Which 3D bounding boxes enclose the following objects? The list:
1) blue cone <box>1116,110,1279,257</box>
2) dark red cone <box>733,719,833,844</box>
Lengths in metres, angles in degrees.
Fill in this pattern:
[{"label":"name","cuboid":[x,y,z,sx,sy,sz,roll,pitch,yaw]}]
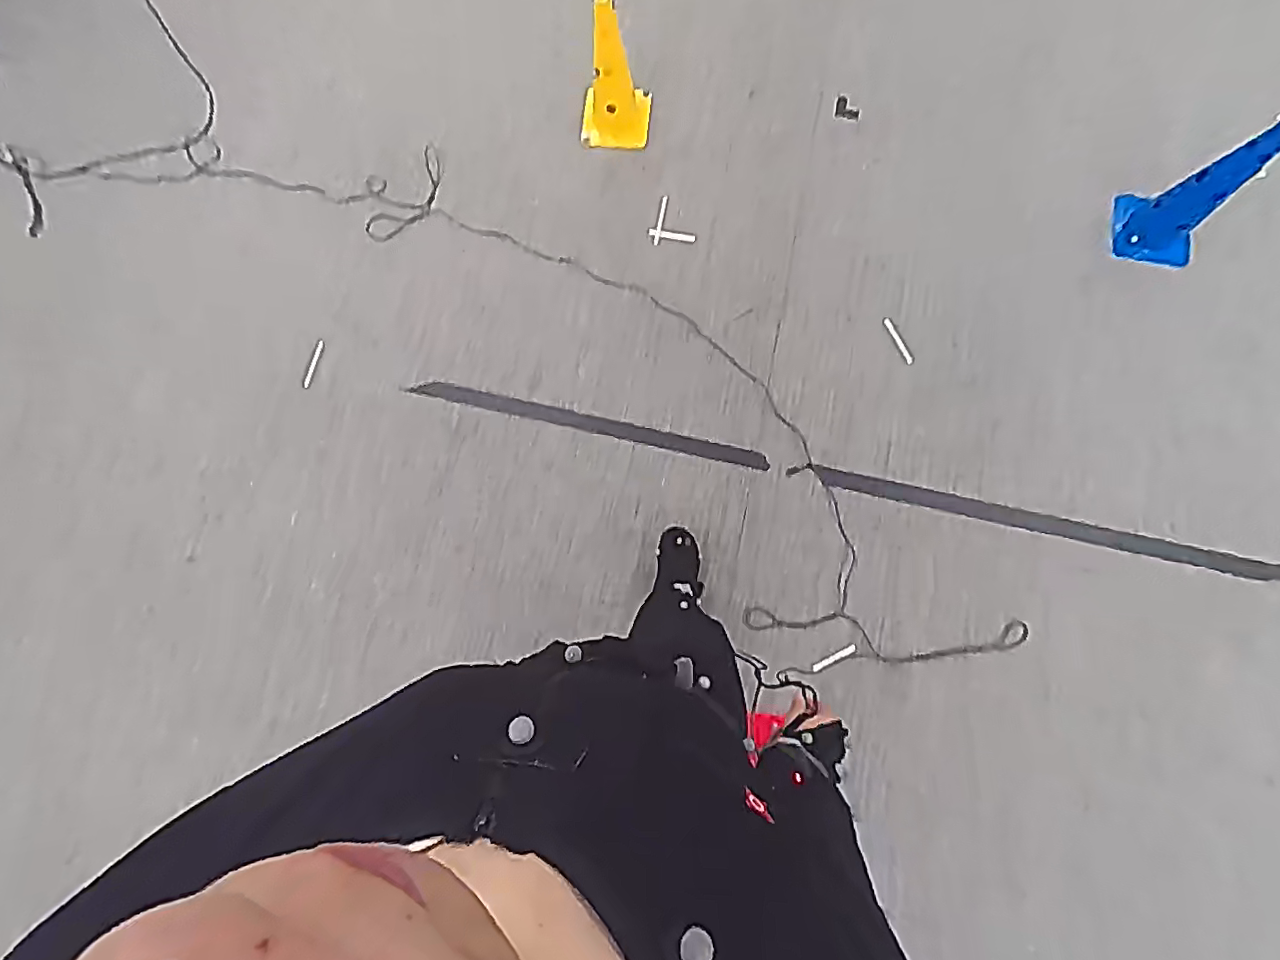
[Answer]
[{"label":"blue cone","cuboid":[1.400,-0.739,1.324,0.193,0.380,0.192,13,78,5]},{"label":"dark red cone","cuboid":[0.308,0.619,1.068,0.202,0.394,0.201,5,78,4]}]
